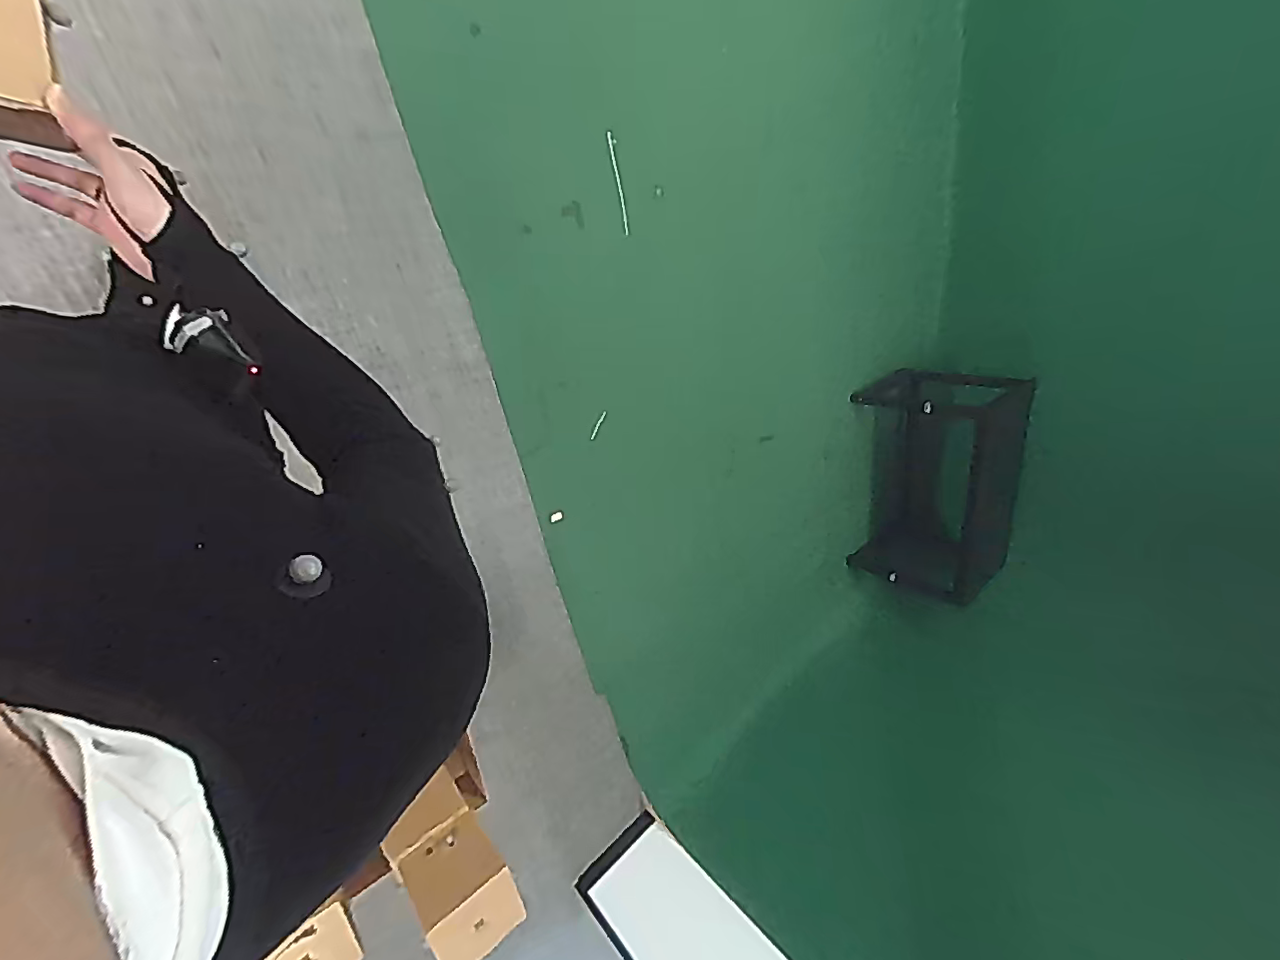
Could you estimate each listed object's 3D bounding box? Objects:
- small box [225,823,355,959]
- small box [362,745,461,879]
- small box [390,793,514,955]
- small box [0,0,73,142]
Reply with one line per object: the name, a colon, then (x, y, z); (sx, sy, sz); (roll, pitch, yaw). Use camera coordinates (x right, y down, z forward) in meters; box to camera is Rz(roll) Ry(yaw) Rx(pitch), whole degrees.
small box: (-0.697, 0.841, 1.077); (0.168, 0.176, 0.179); (-22, 119, -35)
small box: (-0.497, 0.747, 1.220); (0.168, 0.176, 0.179); (-27, 123, -33)
small box: (-0.386, 0.797, 1.112); (0.168, 0.176, 0.179); (-26, 122, -34)
small box: (-0.515, -0.355, 0.364); (0.168, 0.176, 0.179); (-9, 112, -43)
